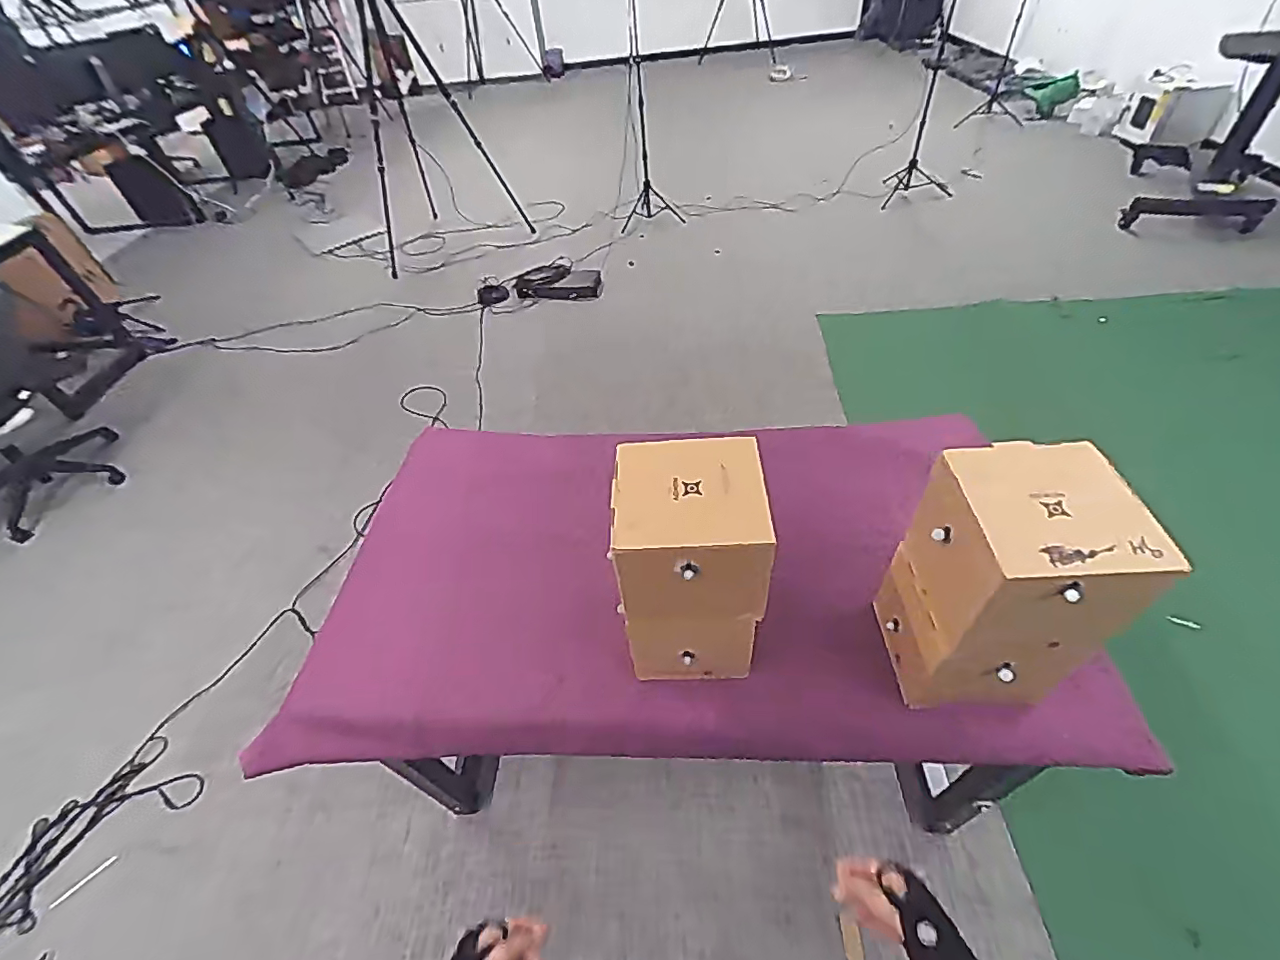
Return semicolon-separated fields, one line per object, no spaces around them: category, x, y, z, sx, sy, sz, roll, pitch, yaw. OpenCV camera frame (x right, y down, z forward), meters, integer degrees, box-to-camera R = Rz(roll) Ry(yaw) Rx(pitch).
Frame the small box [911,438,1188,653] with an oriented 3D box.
small box;0.432;0.076;0.616;0.168;0.176;0.179;-5;46;7

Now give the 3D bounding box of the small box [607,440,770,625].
small box;0.062;0.070;0.680;0.179;0.176;0.168;-3;47;5

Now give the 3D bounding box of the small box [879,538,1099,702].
small box;0.449;0.189;0.734;0.179;0.176;0.168;-5;47;6

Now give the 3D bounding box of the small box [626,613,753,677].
small box;0.075;0.178;0.801;0.168;0.176;0.179;-3;45;5
